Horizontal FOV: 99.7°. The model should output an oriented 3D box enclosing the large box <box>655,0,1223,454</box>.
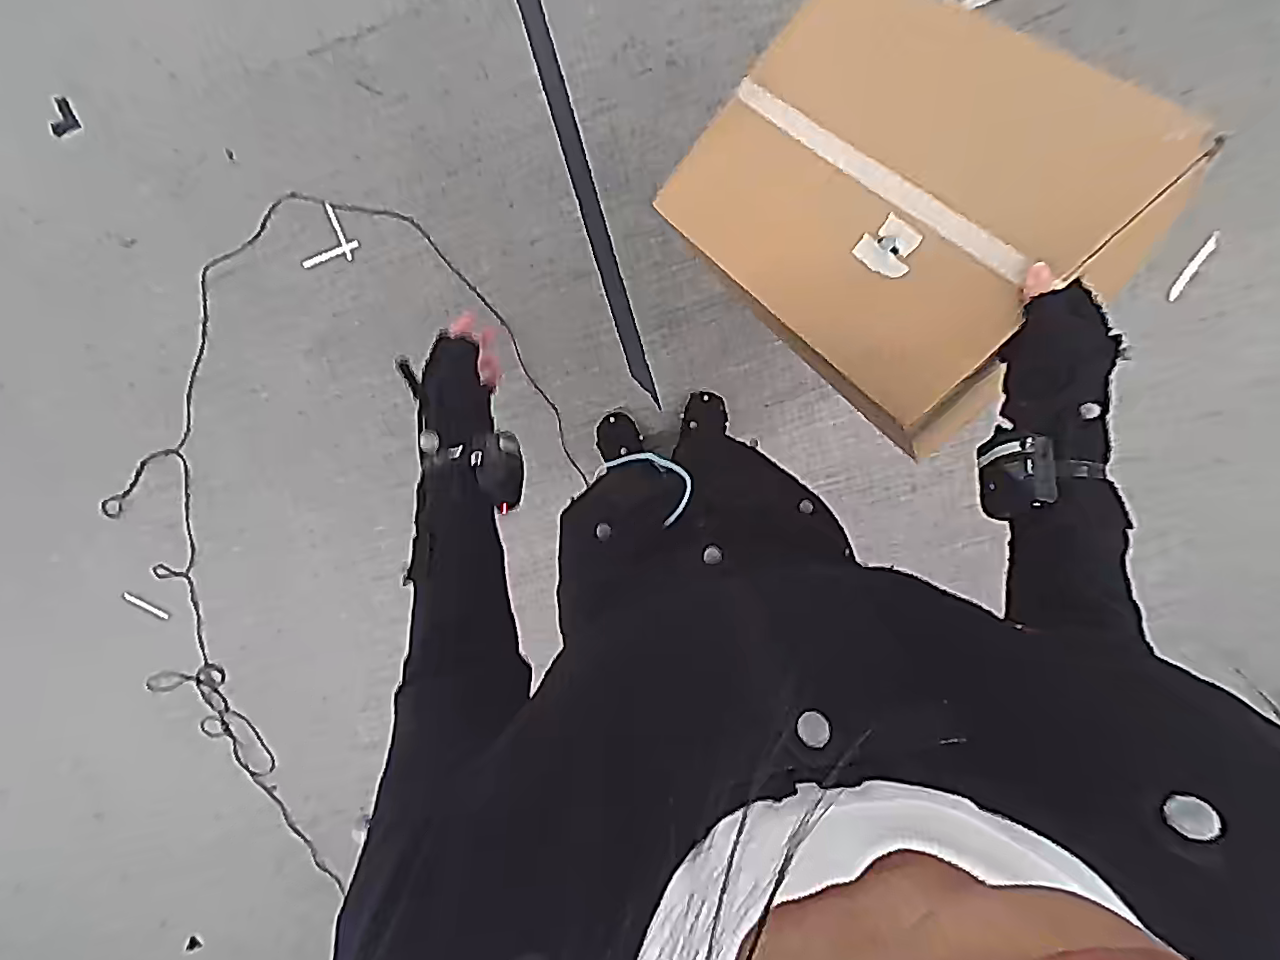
[{"bbox_3d":[0.301,-0.285,0.663,0.320,0.320,0.408,-49,67,18],"label":"large box"}]
